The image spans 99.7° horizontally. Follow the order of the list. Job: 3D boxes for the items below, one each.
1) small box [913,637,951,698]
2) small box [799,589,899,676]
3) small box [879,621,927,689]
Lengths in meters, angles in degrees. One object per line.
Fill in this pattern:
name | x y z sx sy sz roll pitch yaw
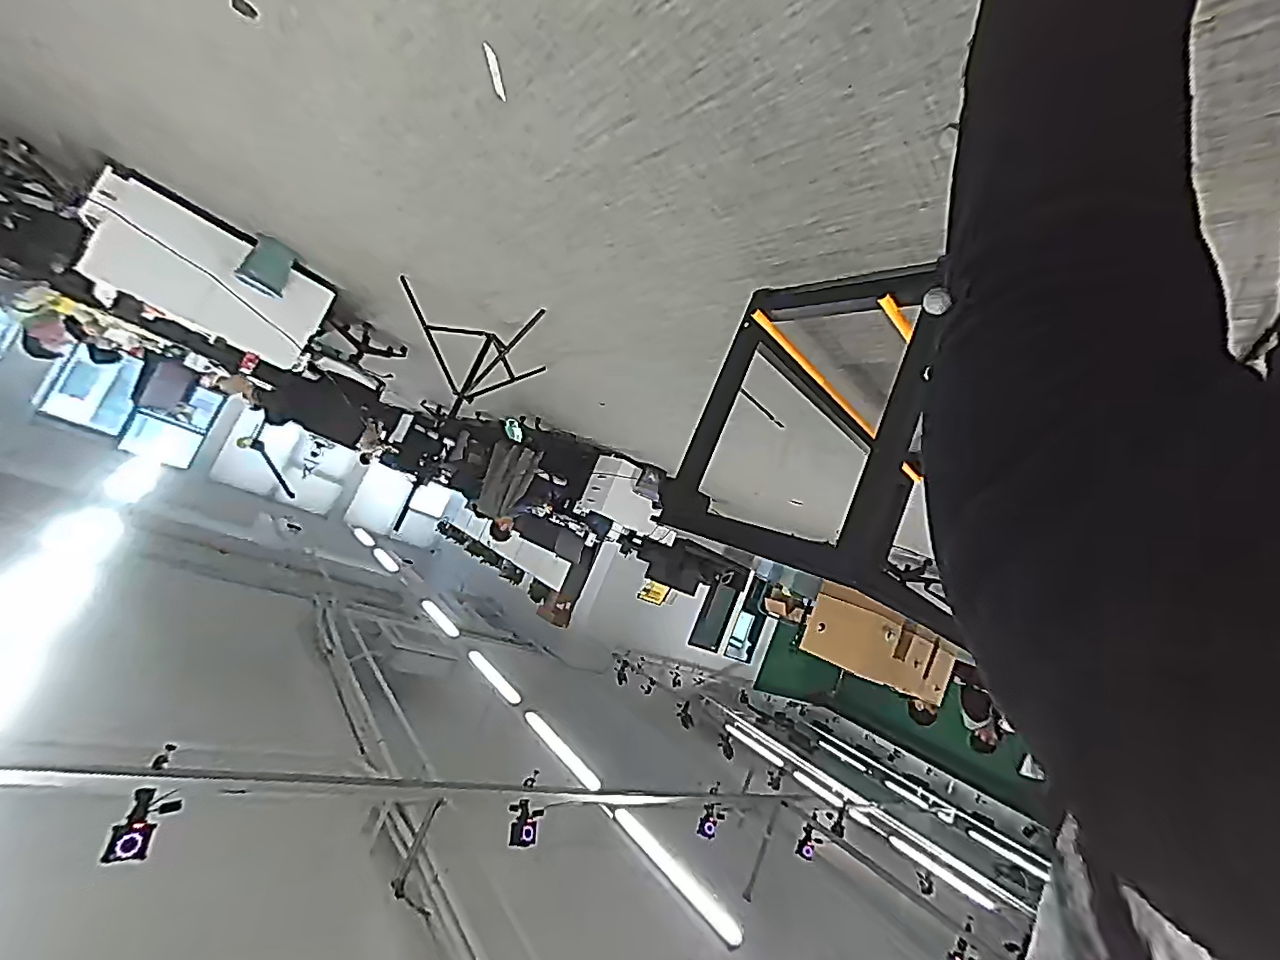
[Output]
small box | 0.892 0.589 1.774 0.179 0.176 0.168 30 170 -38
small box | 0.573 0.410 1.477 0.168 0.176 0.179 27 171 -38
small box | 0.738 0.502 1.623 0.168 0.176 0.179 30 170 -38
